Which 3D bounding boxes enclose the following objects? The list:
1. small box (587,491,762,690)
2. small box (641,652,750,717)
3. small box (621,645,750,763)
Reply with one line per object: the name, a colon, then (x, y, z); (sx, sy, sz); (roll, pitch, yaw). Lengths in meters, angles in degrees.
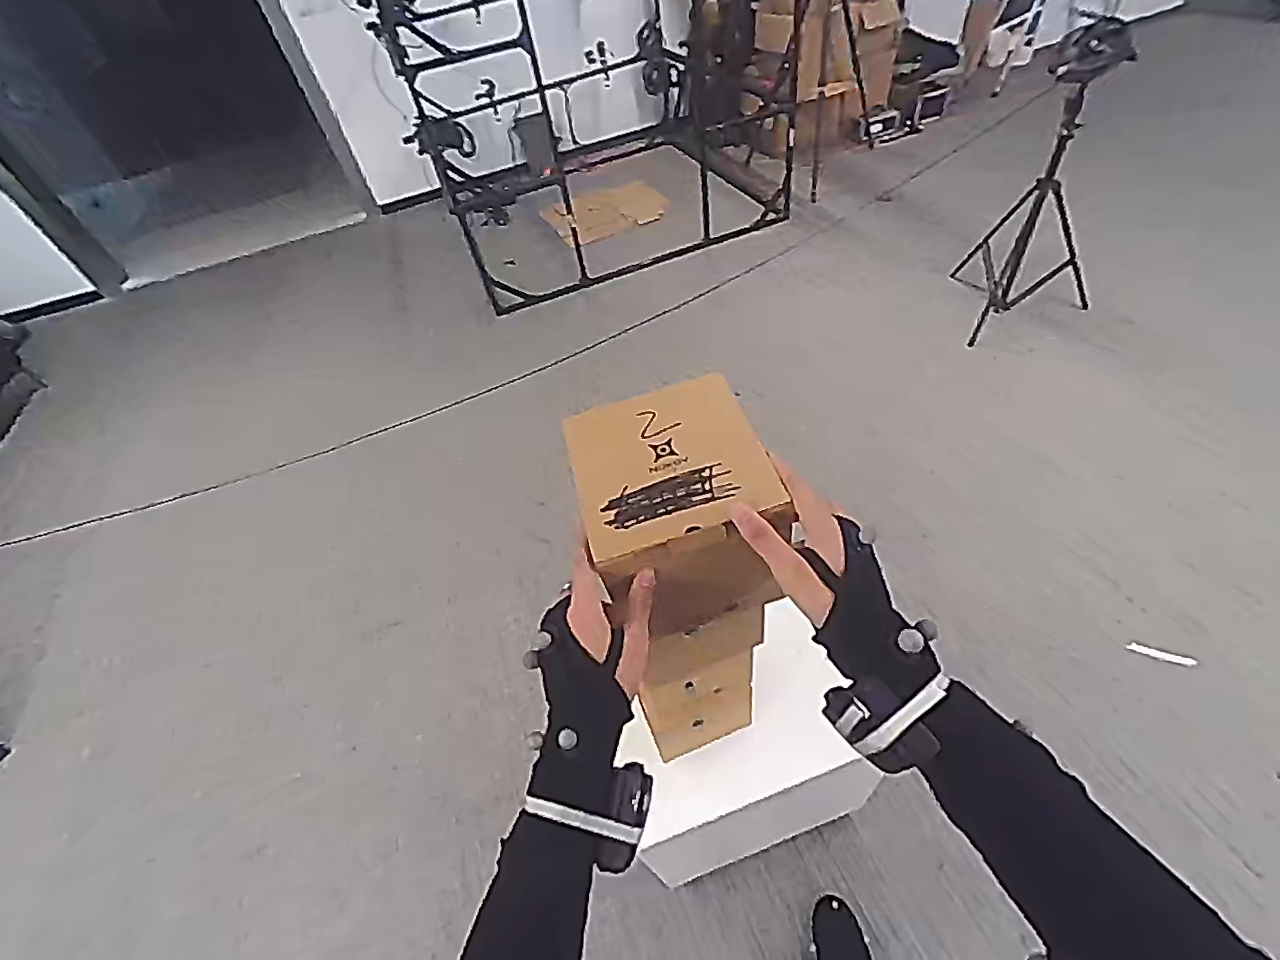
small box: (0.049, 0.150, 0.719); (0.179, 0.176, 0.168); (-20, 47, -7)
small box: (0.066, 0.249, 0.851); (0.168, 0.176, 0.179); (-20, 46, -7)
small box: (0.084, 0.370, 0.959); (0.179, 0.176, 0.168); (-20, 47, -8)
